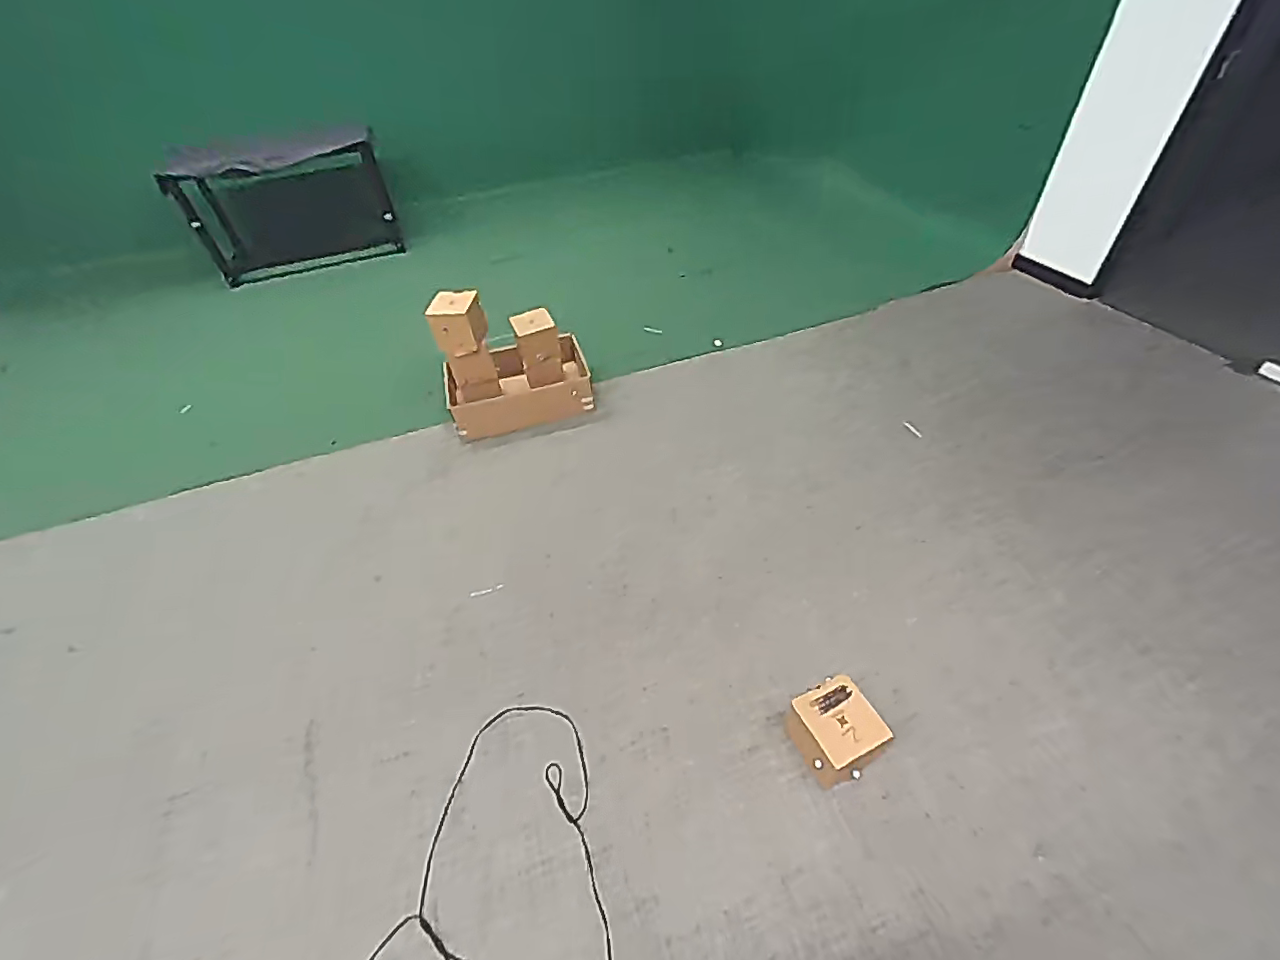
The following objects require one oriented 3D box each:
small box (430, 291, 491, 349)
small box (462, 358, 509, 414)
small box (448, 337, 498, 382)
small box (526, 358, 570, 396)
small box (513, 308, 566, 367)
[{"bbox_3d":[-0.714,-0.640,2.174,0.168,0.176,0.179,1,44,5],"label":"small box"},{"bbox_3d":[-0.697,-0.422,2.418,0.168,0.176,0.179,-17,46,-11],"label":"small box"},{"bbox_3d":[-0.709,-0.529,2.294,0.168,0.176,0.179,-15,45,-11],"label":"small box"},{"bbox_3d":[-0.426,-0.510,2.483,0.168,0.176,0.179,-13,46,-6],"label":"small box"},{"bbox_3d":[-0.438,-0.622,2.365,0.168,0.176,0.179,-21,49,-12],"label":"small box"}]
